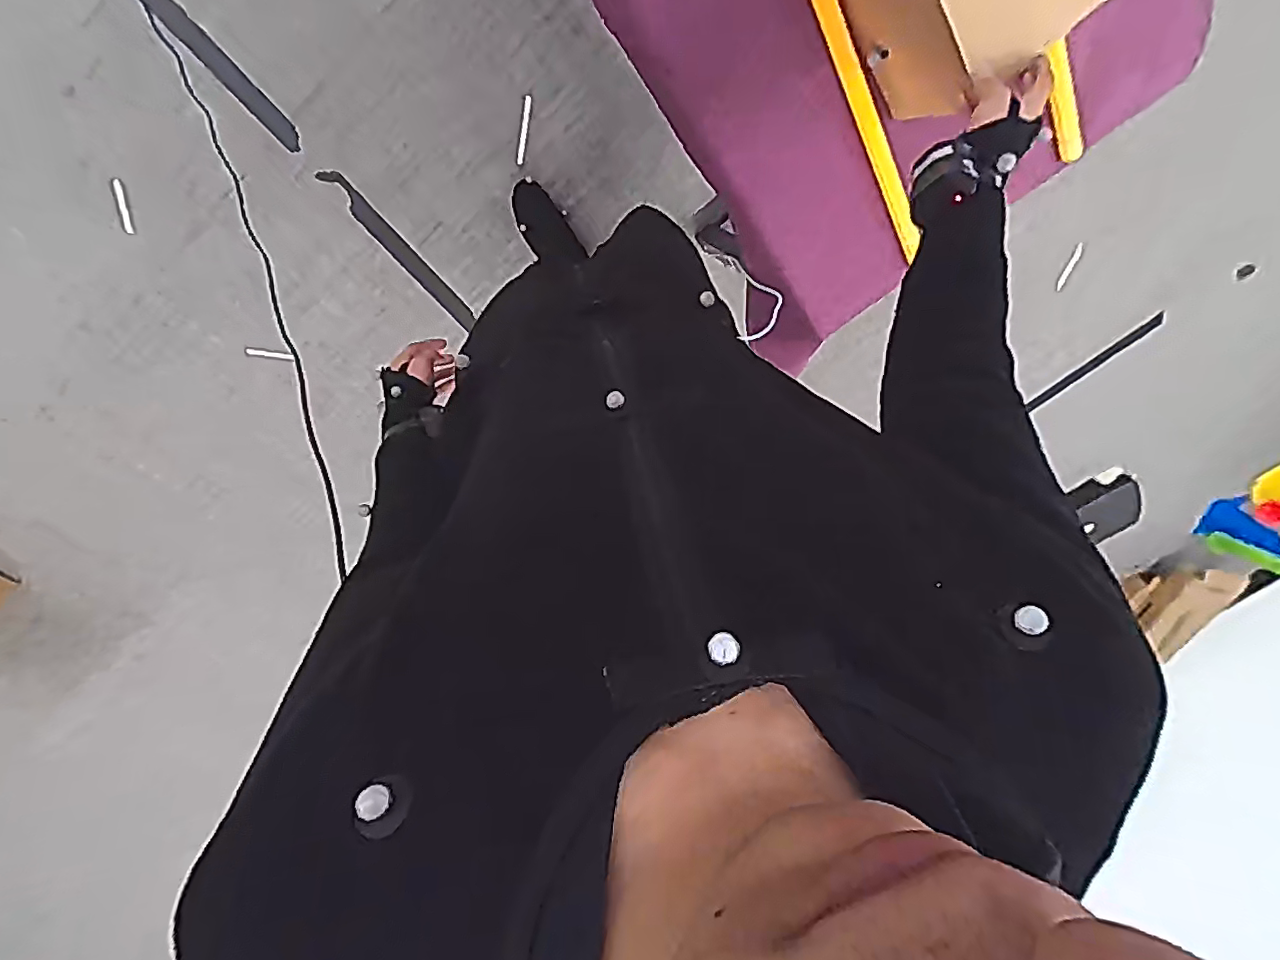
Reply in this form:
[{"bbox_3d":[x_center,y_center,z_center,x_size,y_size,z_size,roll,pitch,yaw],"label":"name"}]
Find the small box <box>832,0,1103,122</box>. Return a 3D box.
[{"bbox_3d":[0.349,-0.535,0.598,0.168,0.176,0.179,-39,120,13],"label":"small box"}]
